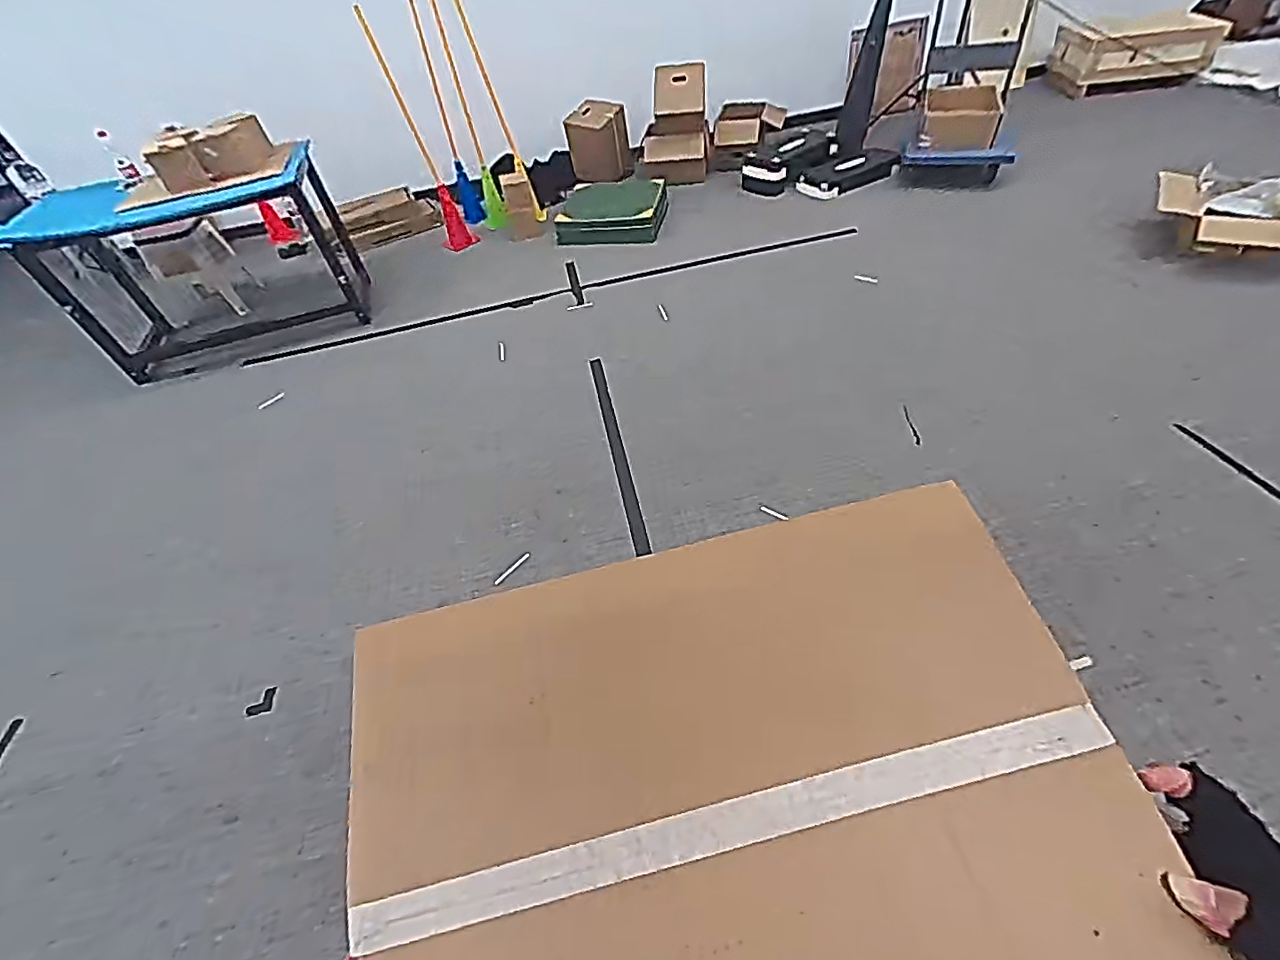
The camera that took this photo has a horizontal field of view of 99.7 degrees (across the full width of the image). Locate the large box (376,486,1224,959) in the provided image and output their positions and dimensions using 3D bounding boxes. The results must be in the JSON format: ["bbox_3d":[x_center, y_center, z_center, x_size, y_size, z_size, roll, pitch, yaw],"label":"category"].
[{"bbox_3d":[0.065,0.254,0.423,0.408,0.320,0.320,-14,62,-2],"label":"large box"}]
